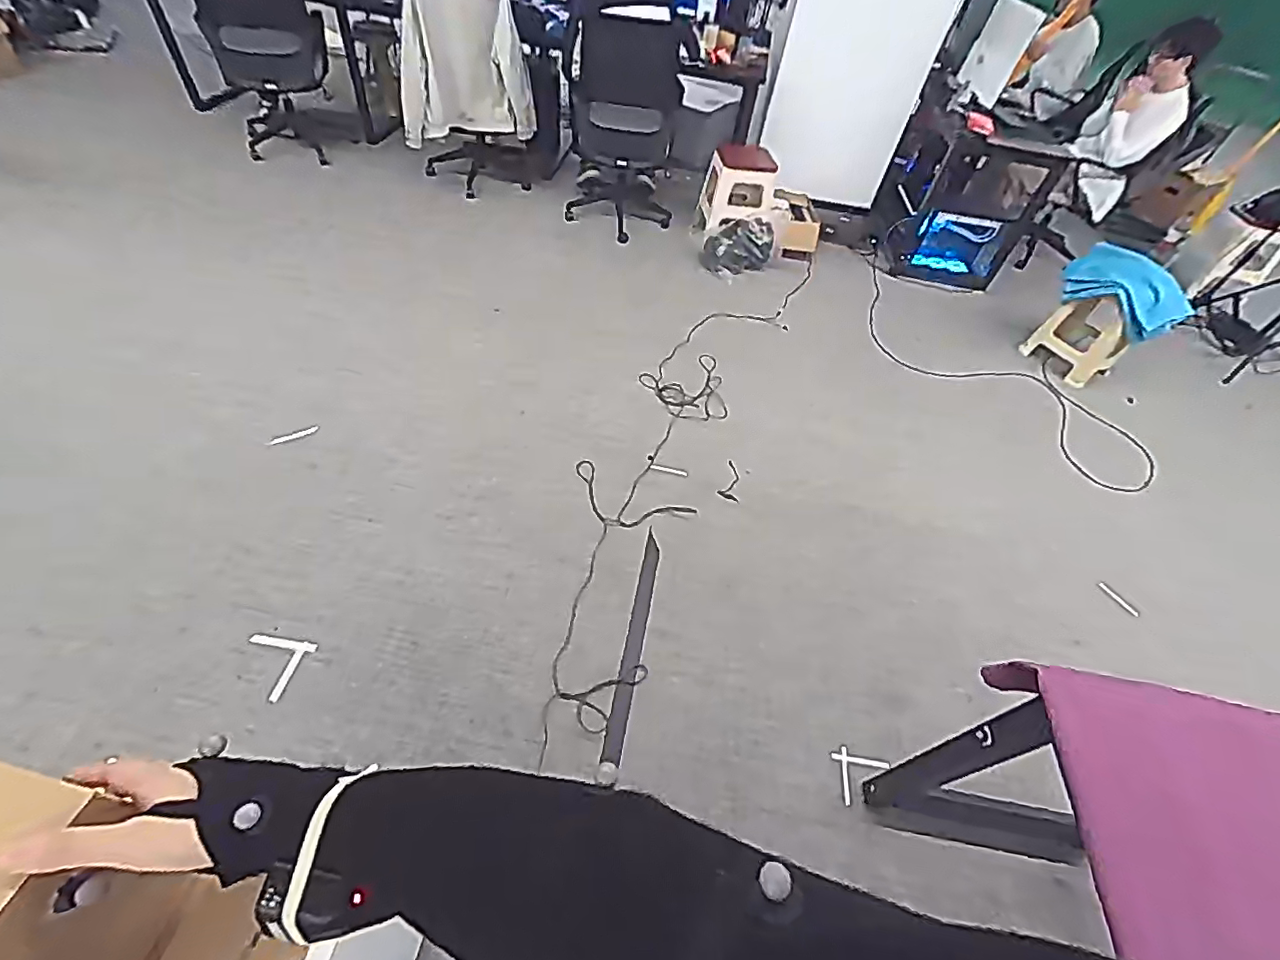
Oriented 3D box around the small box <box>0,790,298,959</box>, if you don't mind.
[{"bbox_3d":[-0.439,0.388,0.453,0.179,0.176,0.168,14,50,2],"label":"small box"}]
